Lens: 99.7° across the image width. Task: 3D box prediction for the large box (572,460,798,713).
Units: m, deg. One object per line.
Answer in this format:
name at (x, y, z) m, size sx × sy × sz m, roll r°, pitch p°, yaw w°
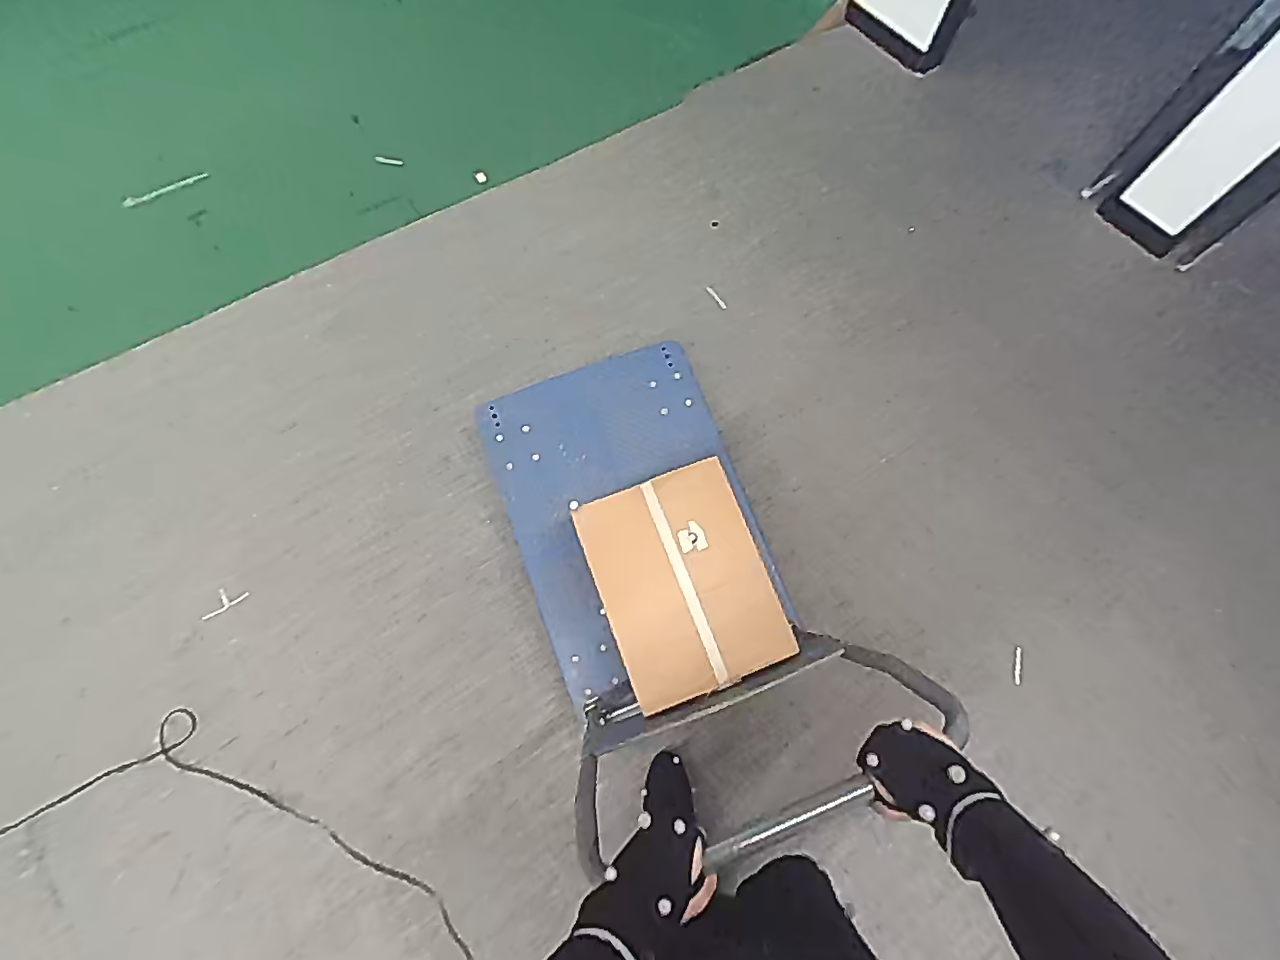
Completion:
large box at (0.080, 0.226, 1.171) m, size 0.320 × 0.320 × 0.408 m, roll -20°, pitch 77°, yaw -7°
